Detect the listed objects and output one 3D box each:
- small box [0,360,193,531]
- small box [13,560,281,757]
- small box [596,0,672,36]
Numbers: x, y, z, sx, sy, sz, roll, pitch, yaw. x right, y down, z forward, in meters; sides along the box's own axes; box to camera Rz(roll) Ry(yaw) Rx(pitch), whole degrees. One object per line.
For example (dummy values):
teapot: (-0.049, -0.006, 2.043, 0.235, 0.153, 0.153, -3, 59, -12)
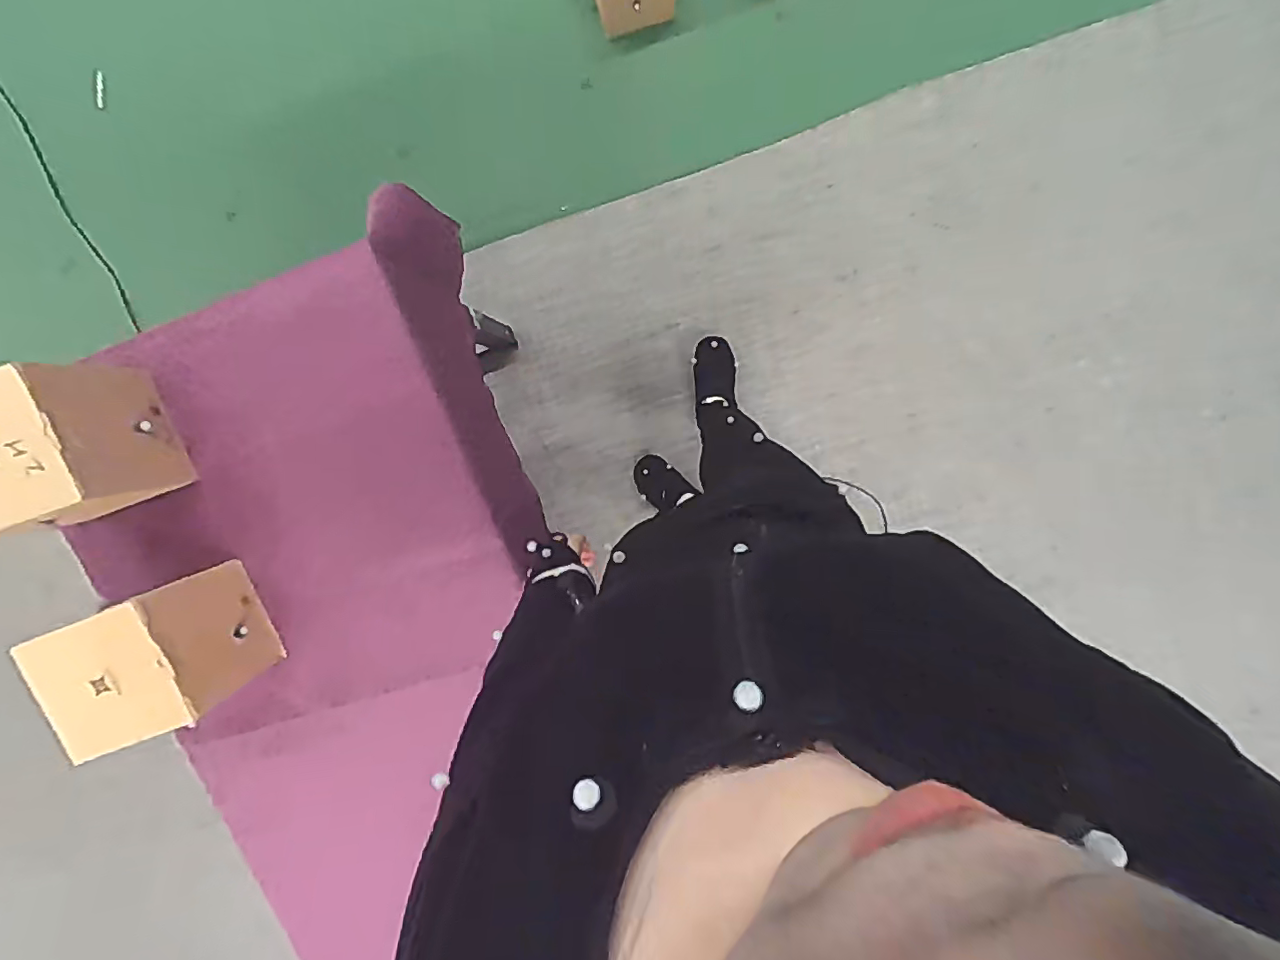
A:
small box: (-0.740, -0.041, 0.689, 0.179, 0.176, 0.168, -19, 98, 2)
small box: (-0.645, 0.228, 0.732, 0.179, 0.176, 0.168, -21, 97, 4)
small box: (-0.025, -1.175, 1.234, 0.179, 0.176, 0.168, -16, 97, 6)
